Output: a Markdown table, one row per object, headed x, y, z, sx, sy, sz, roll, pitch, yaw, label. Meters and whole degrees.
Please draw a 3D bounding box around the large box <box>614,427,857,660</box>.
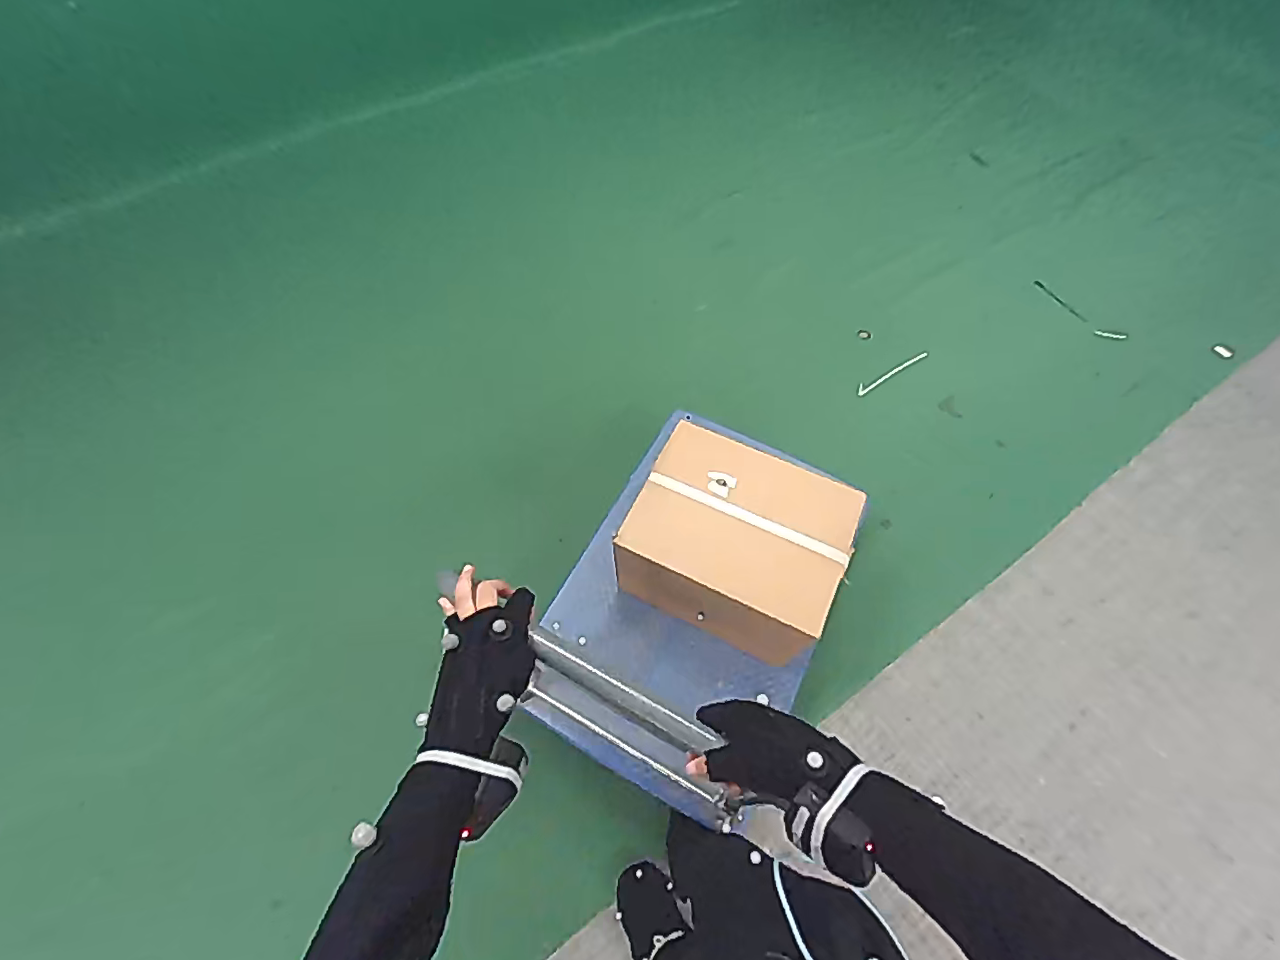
| x | y | z | sx | sy | sz | roll | pitch | yaw | label |
| --- | --- | --- | --- | --- | --- | --- | --- | --- | --- |
| 0.196 | 0.146 | 1.183 | 0.408 | 0.320 | 0.320 | 23 | 64 | 13 | large box |
